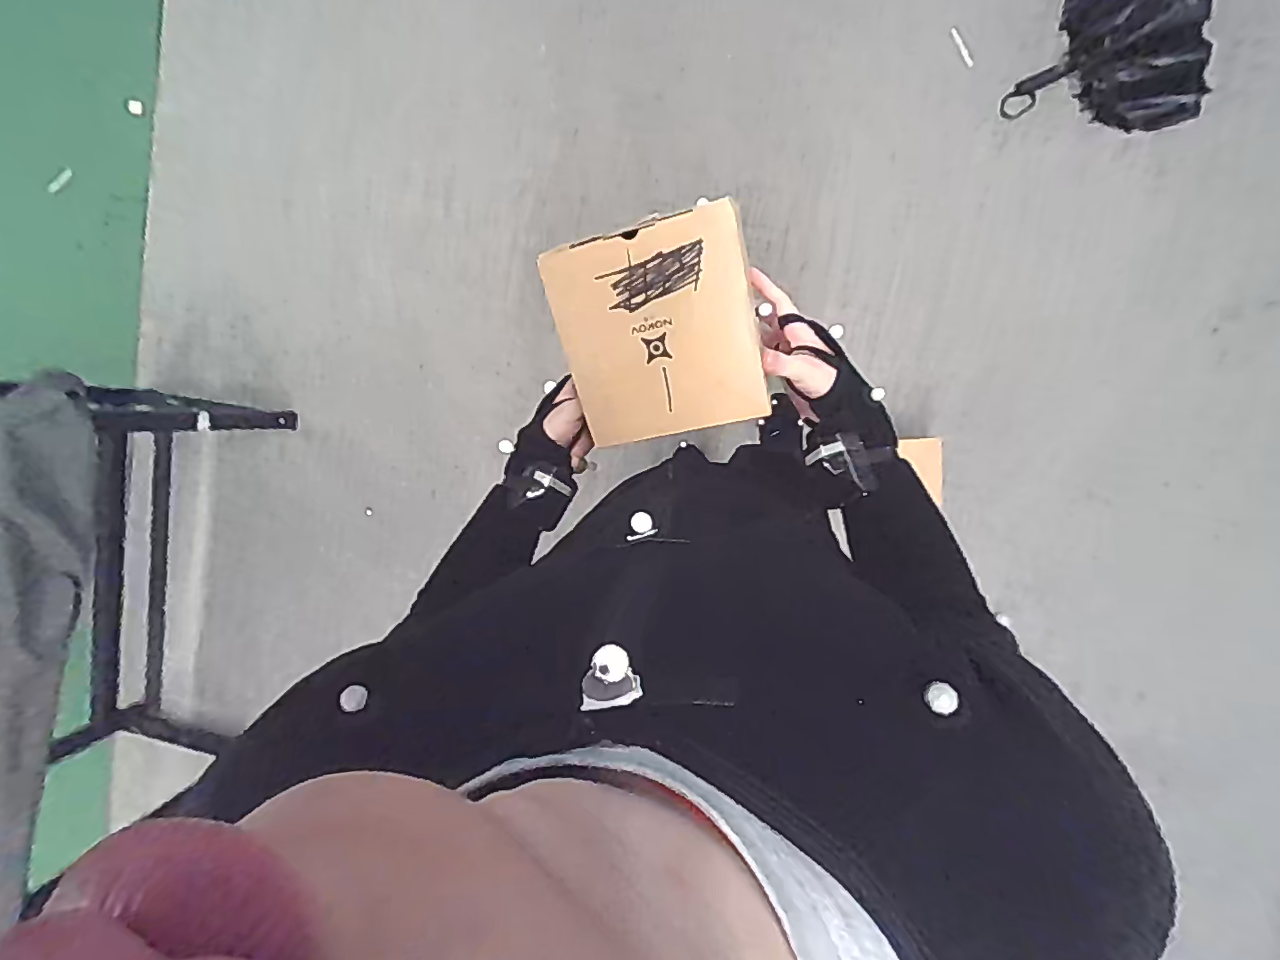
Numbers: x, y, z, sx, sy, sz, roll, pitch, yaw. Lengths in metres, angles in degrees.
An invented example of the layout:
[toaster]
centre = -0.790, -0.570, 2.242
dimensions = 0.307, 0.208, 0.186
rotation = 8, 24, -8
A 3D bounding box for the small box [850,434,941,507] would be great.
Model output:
[small box]
centre = 0.636, -0.027, 1.365
dimensions = 0.179, 0.176, 0.168
rotation = -3, 97, 9
